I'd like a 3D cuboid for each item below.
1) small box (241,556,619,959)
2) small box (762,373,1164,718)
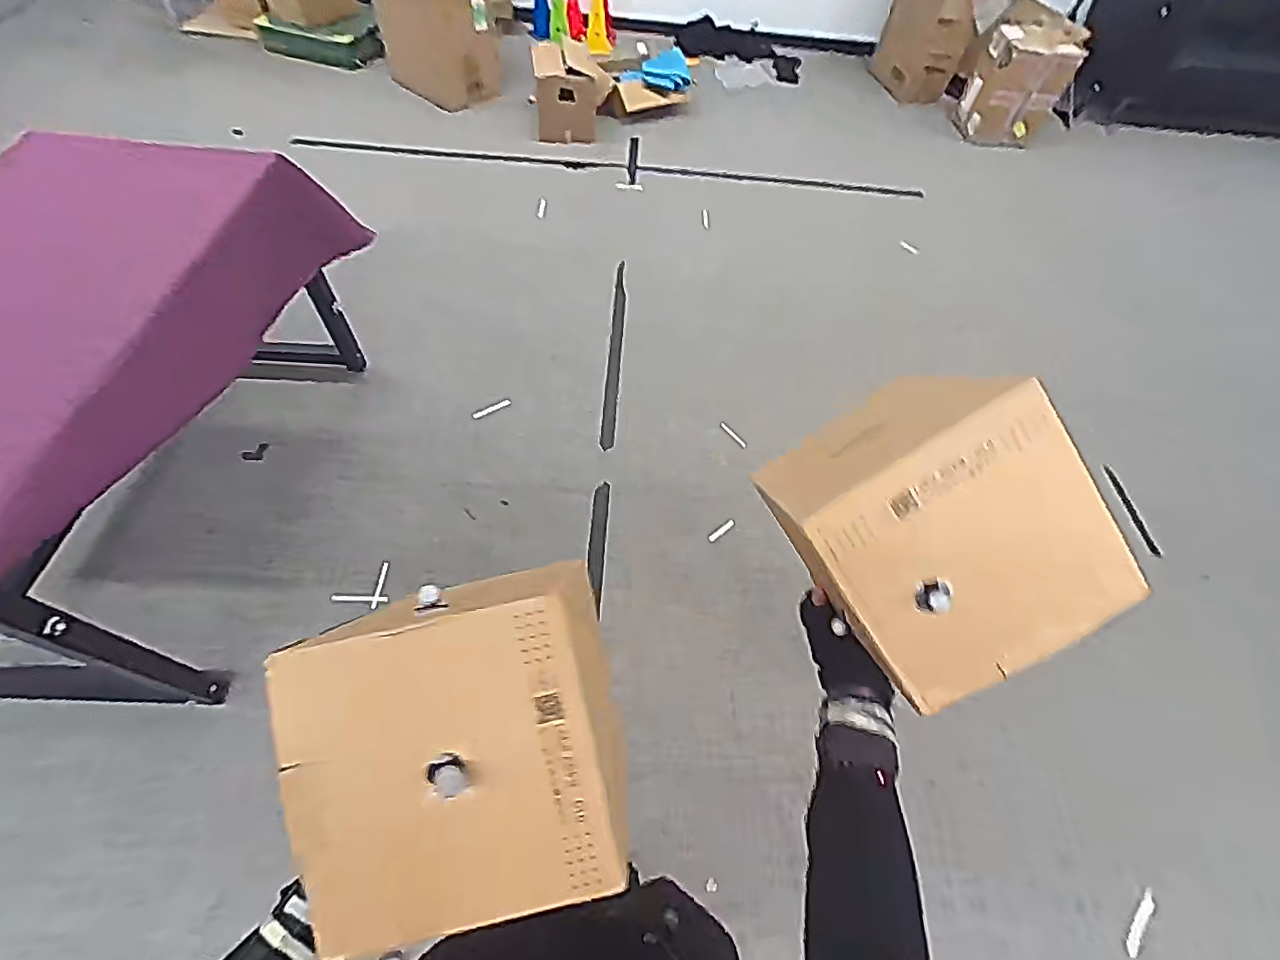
[{"bbox_3d":[-0.112,0.153,0.364,0.176,0.179,0.168,-13,87,-3],"label":"small box"},{"bbox_3d":[0.215,0.031,0.414,0.168,0.179,0.176,-32,98,7],"label":"small box"}]
